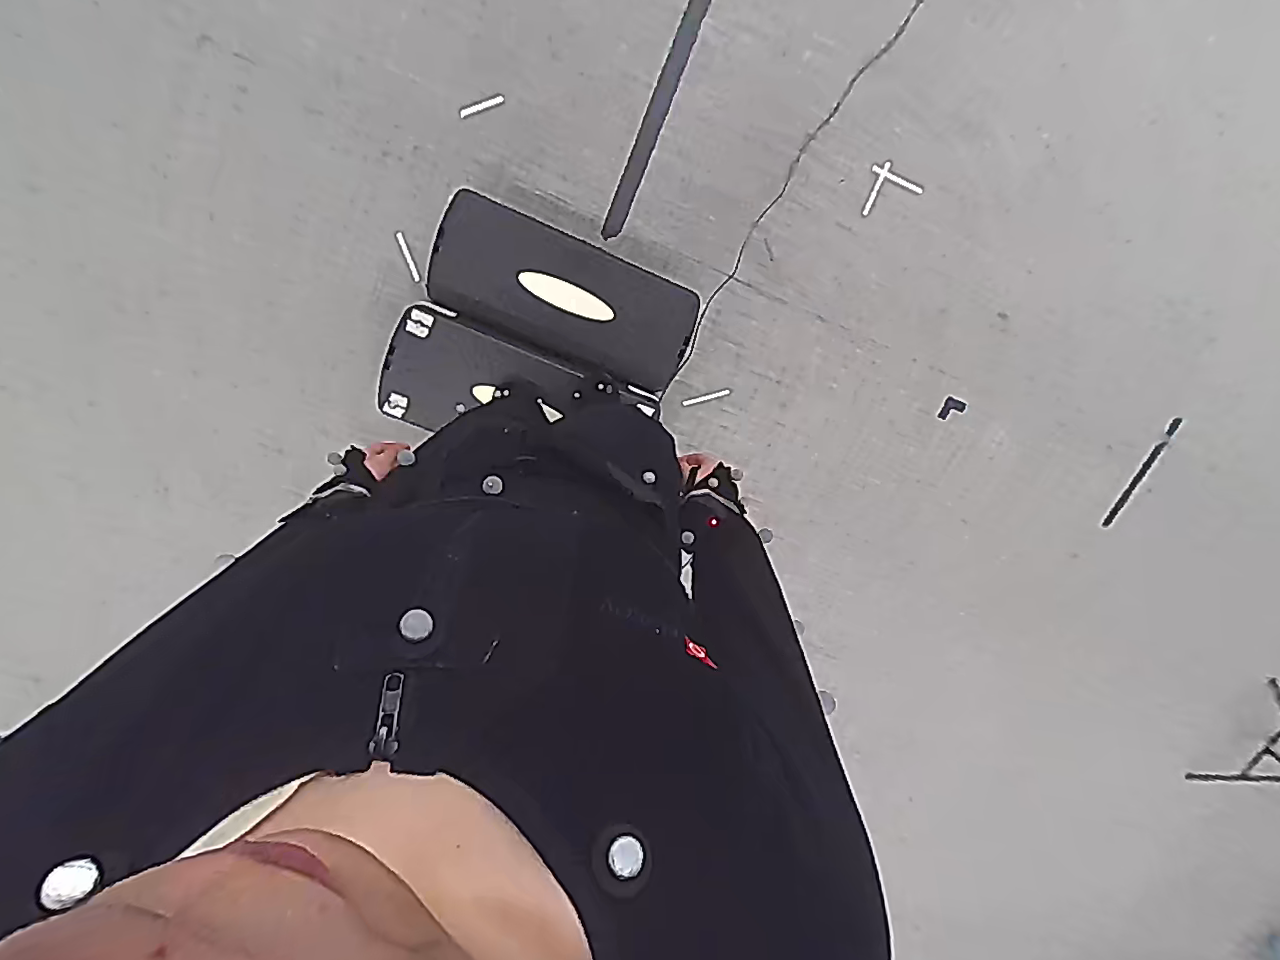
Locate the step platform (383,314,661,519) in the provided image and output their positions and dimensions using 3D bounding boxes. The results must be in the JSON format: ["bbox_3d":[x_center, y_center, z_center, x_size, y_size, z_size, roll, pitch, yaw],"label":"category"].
[{"bbox_3d":[-0.290,-0.158,1.410,0.684,0.204,0.286,25,101,-10],"label":"step platform"}]
